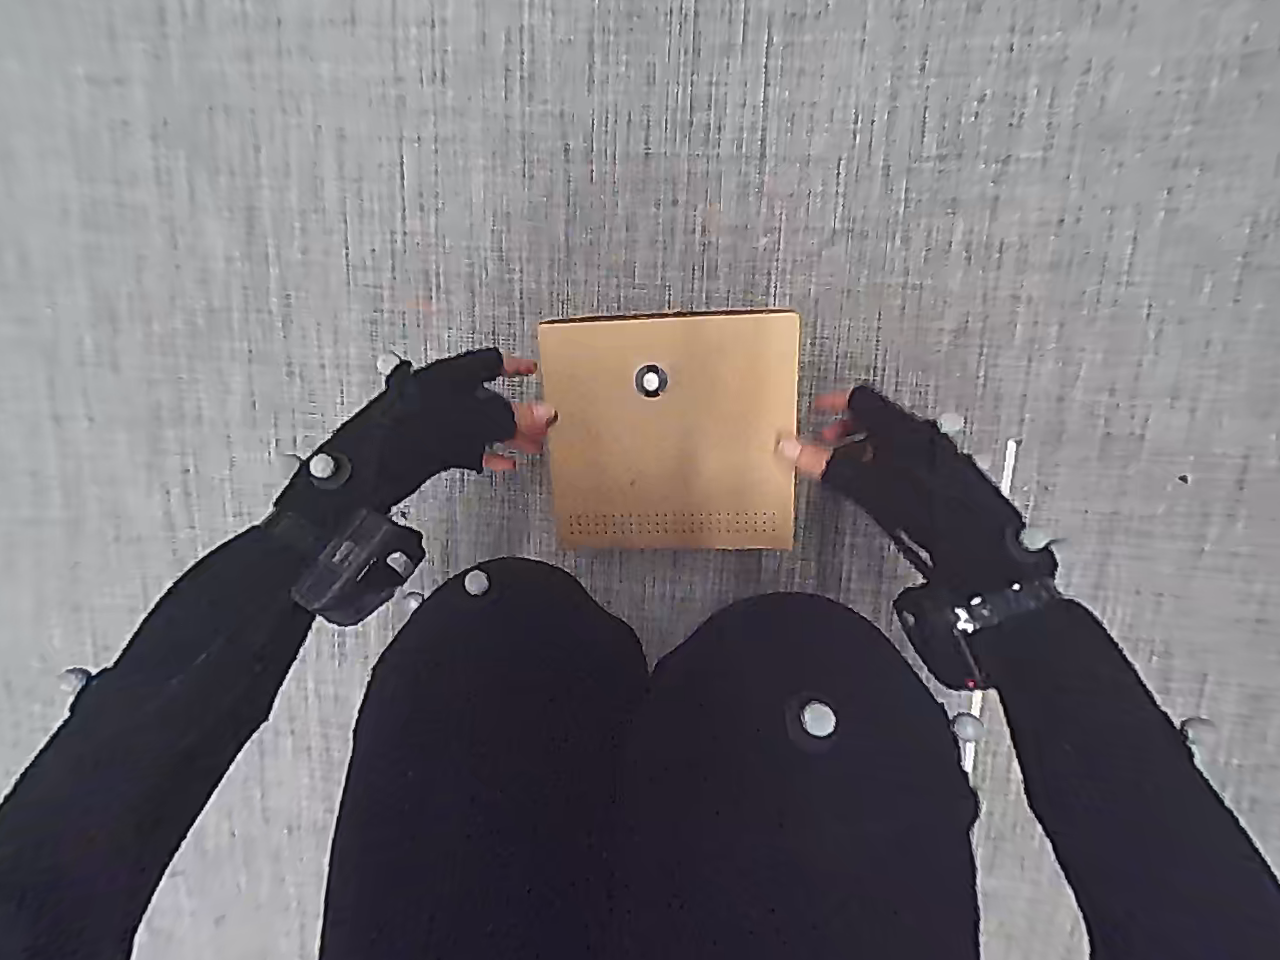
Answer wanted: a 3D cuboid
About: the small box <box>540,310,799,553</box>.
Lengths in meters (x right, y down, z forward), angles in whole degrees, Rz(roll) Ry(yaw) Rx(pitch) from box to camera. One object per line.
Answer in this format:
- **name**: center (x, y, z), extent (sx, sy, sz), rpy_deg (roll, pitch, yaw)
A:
- **small box**: center (0.030, -0.046, 0.450), extent (0.179, 0.168, 0.176), rpy_deg (-1, 106, 6)
